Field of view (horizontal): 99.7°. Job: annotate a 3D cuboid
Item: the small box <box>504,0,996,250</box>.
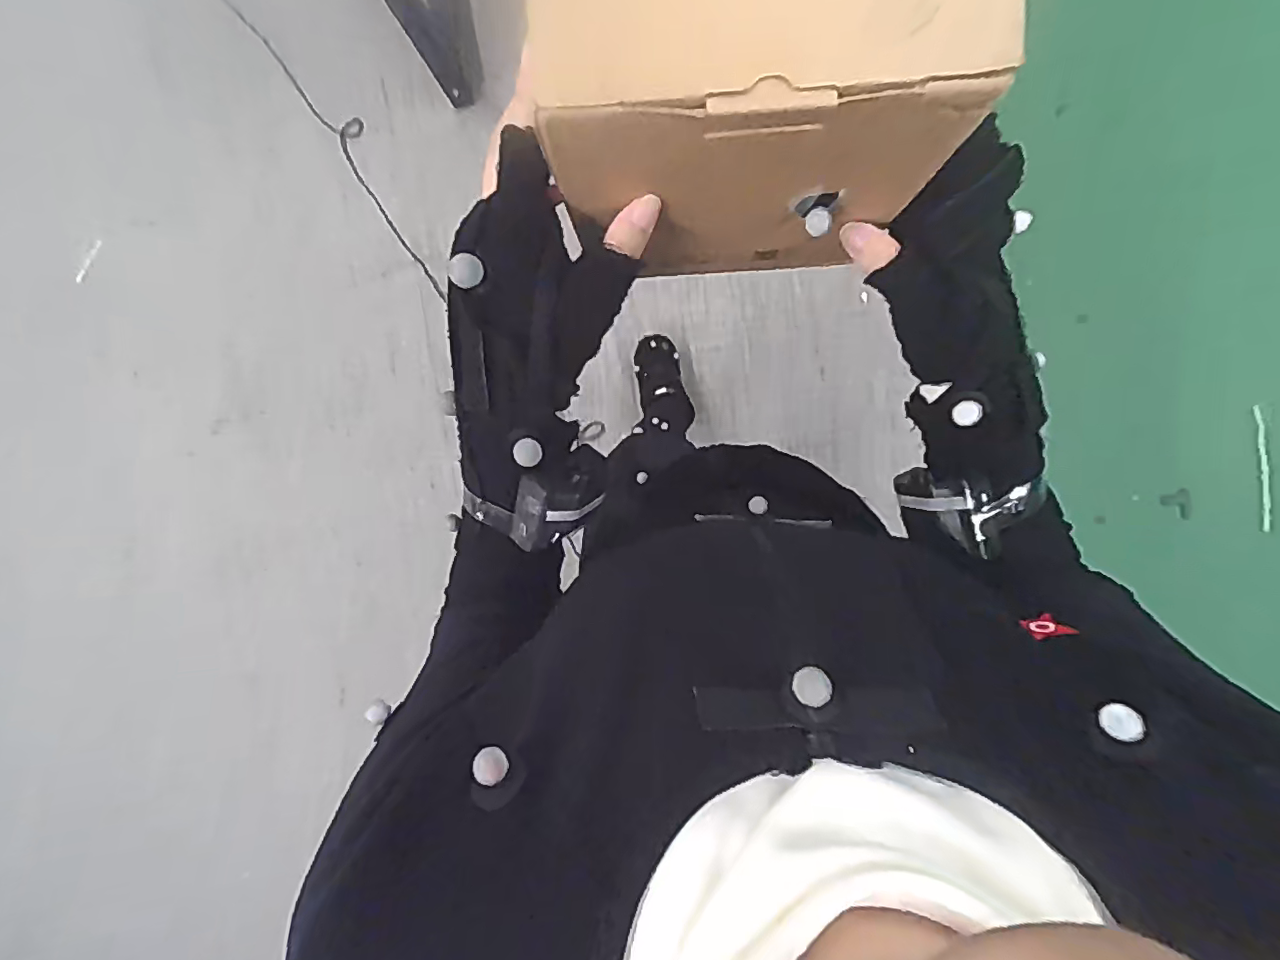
[{"bbox_3d":[0.038,-0.224,0.258,0.168,0.176,0.179,-1,91,2],"label":"small box"}]
